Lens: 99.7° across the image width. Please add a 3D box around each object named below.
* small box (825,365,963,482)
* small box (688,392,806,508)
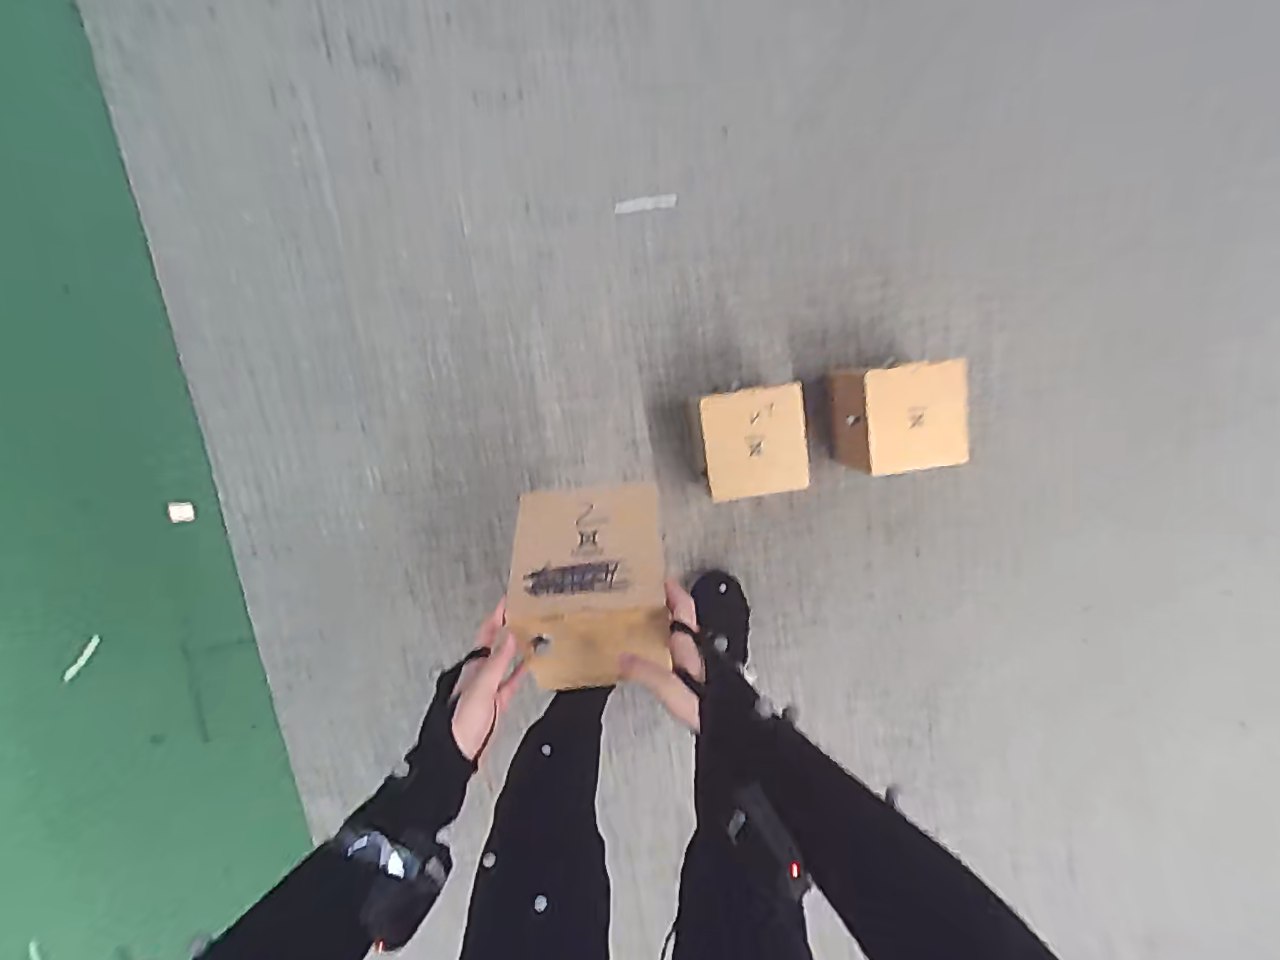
[{"bbox_3d":[0.447,-0.104,0.971,0.168,0.176,0.179,-9,98,-1],"label":"small box"},{"bbox_3d":[0.184,-0.060,0.964,0.168,0.176,0.179,-9,98,-1],"label":"small box"}]
